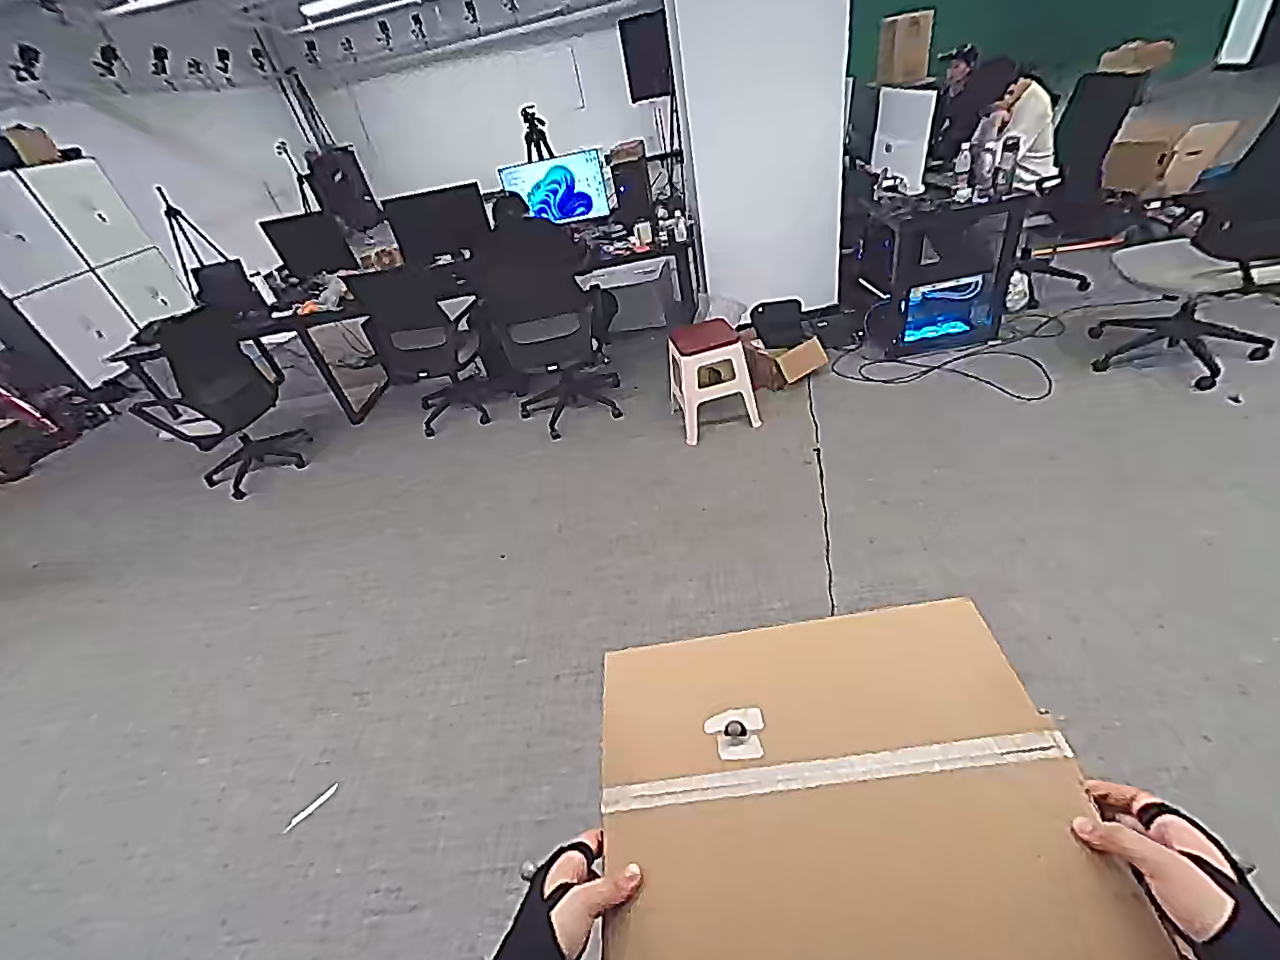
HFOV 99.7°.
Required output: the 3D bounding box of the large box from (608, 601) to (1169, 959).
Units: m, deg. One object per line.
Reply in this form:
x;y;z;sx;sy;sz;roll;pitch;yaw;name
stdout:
0.201;0.380;0.595;0.408;0.320;0.320;-13;40;8;large box
